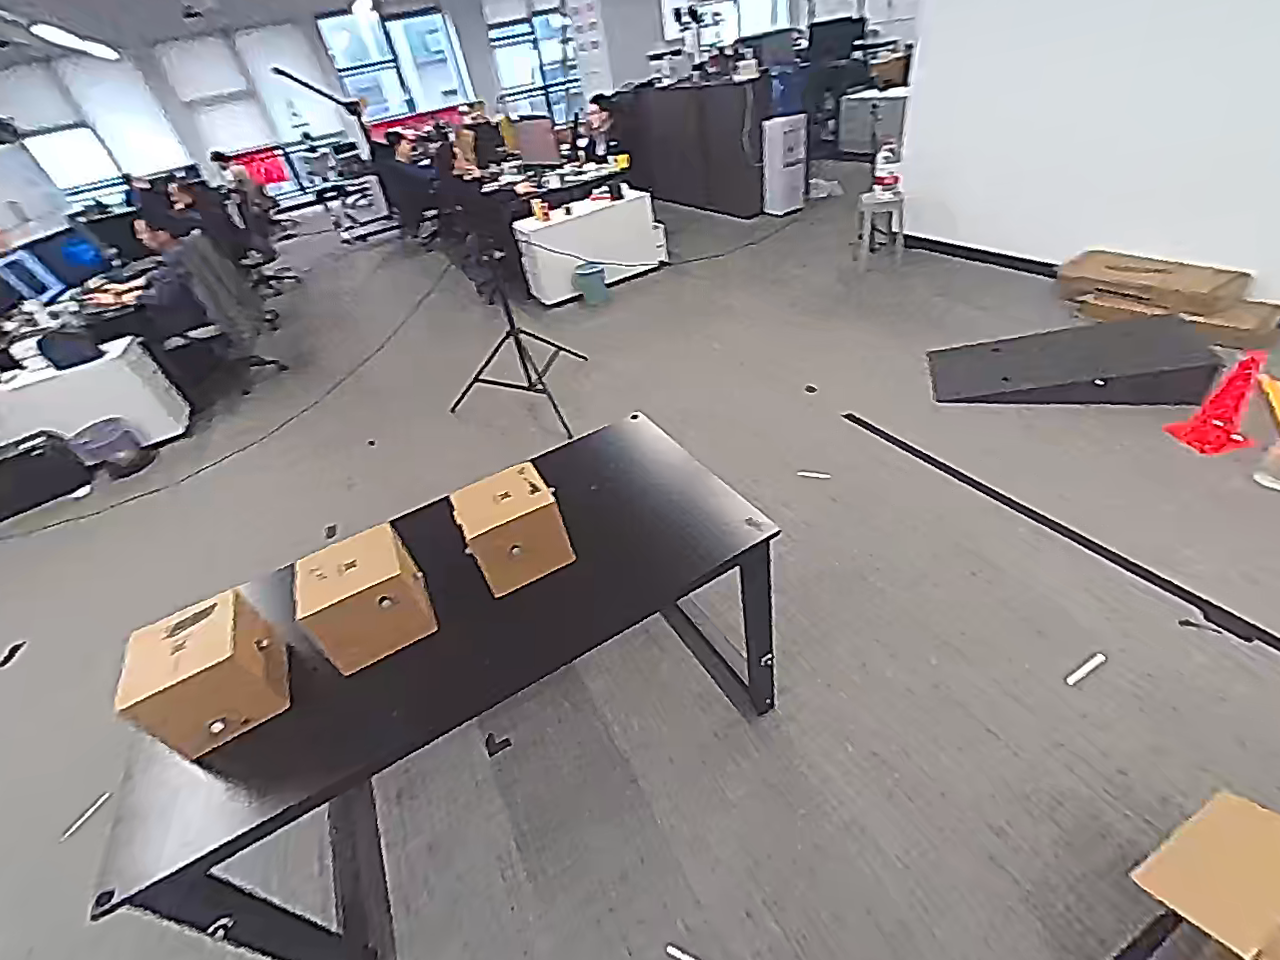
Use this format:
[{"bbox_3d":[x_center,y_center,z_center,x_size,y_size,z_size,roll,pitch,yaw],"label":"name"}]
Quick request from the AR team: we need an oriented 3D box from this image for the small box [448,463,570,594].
[{"bbox_3d":[-0.265,0.101,1.108,0.179,0.176,0.168,-25,40,-15],"label":"small box"}]

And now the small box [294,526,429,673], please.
[{"bbox_3d":[-0.517,0.224,1.020,0.179,0.176,0.168,-26,40,-18],"label":"small box"}]

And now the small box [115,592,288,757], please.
[{"bbox_3d":[-0.746,0.337,0.942,0.168,0.176,0.179,-27,42,-18],"label":"small box"}]
